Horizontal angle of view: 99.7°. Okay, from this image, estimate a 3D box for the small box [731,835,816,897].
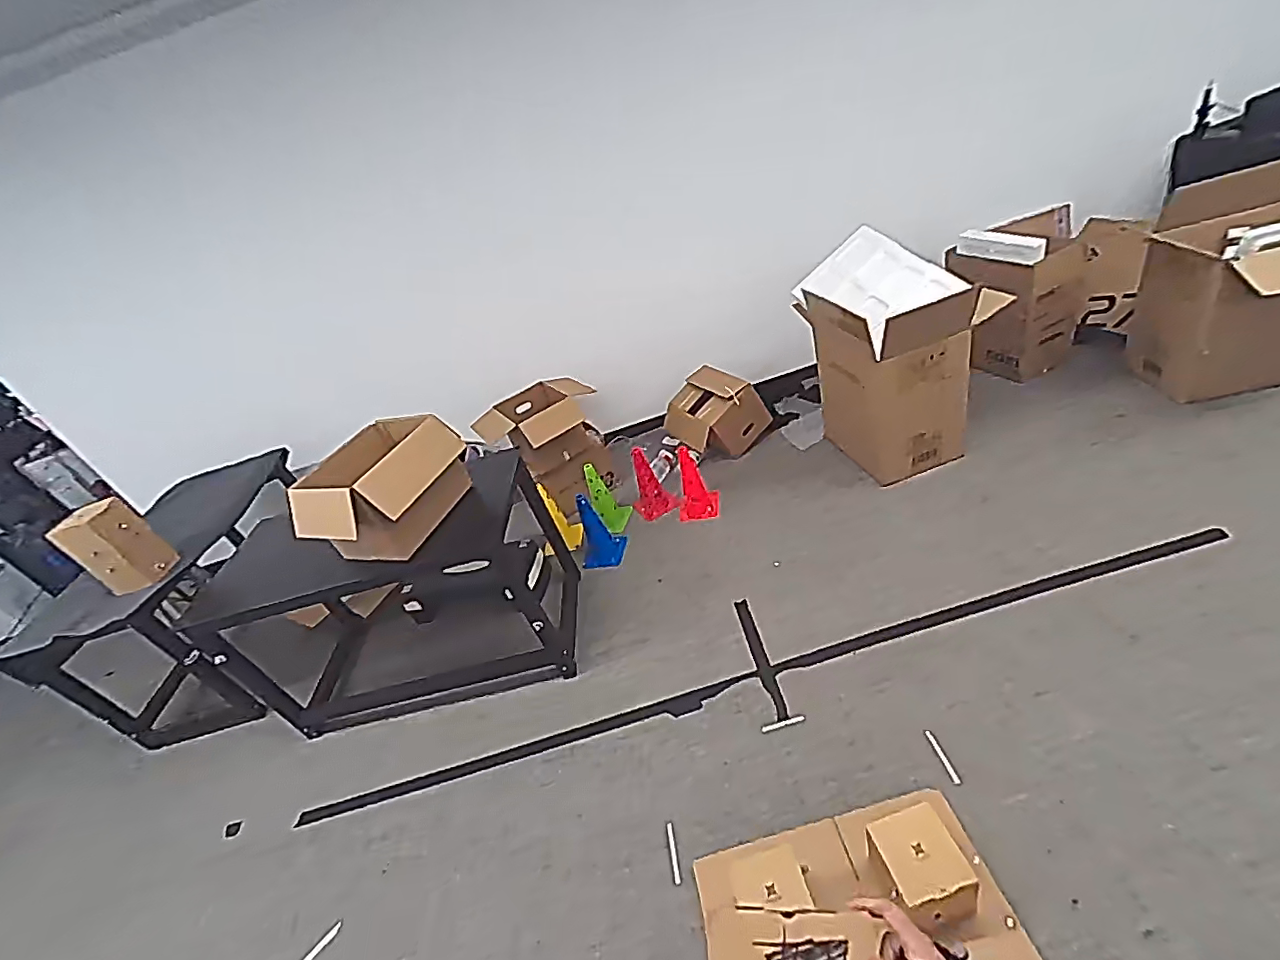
[{"bbox_3d":[0.331,0.991,1.282,0.168,0.176,0.179,-20,34,2],"label":"small box"}]

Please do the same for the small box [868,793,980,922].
[{"bbox_3d":[0.658,0.886,1.270,0.168,0.176,0.179,-21,34,-1],"label":"small box"}]

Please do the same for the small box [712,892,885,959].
[{"bbox_3d":[0.166,0.545,0.545,0.168,0.176,0.179,-8,42,12],"label":"small box"}]
